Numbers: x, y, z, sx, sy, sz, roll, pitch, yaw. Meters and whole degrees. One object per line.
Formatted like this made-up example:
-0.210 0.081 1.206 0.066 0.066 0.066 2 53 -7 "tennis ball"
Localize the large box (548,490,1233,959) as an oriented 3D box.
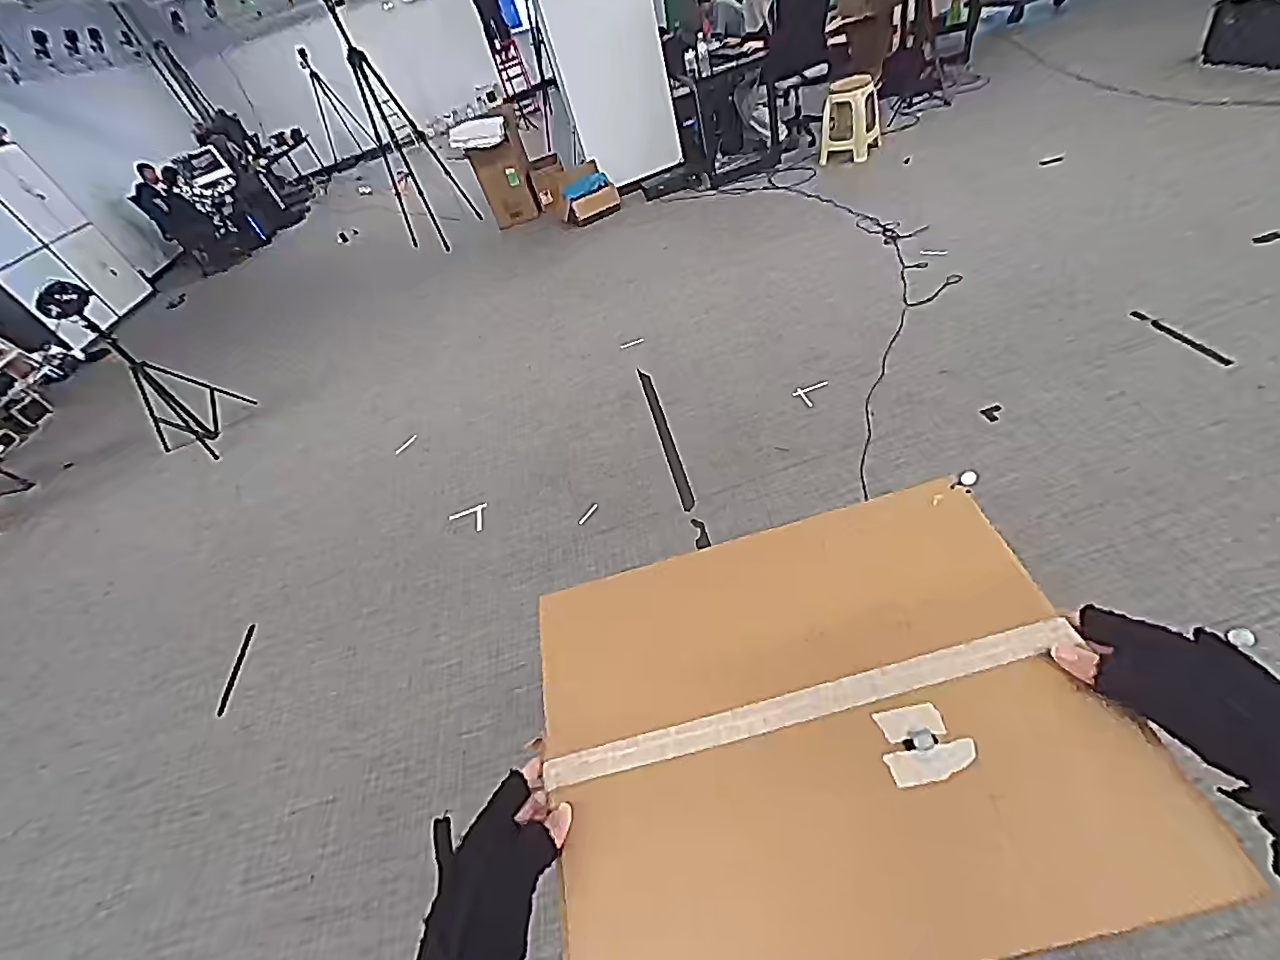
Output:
0.161 0.271 0.529 0.408 0.320 0.320 -17 50 3 "large box"
